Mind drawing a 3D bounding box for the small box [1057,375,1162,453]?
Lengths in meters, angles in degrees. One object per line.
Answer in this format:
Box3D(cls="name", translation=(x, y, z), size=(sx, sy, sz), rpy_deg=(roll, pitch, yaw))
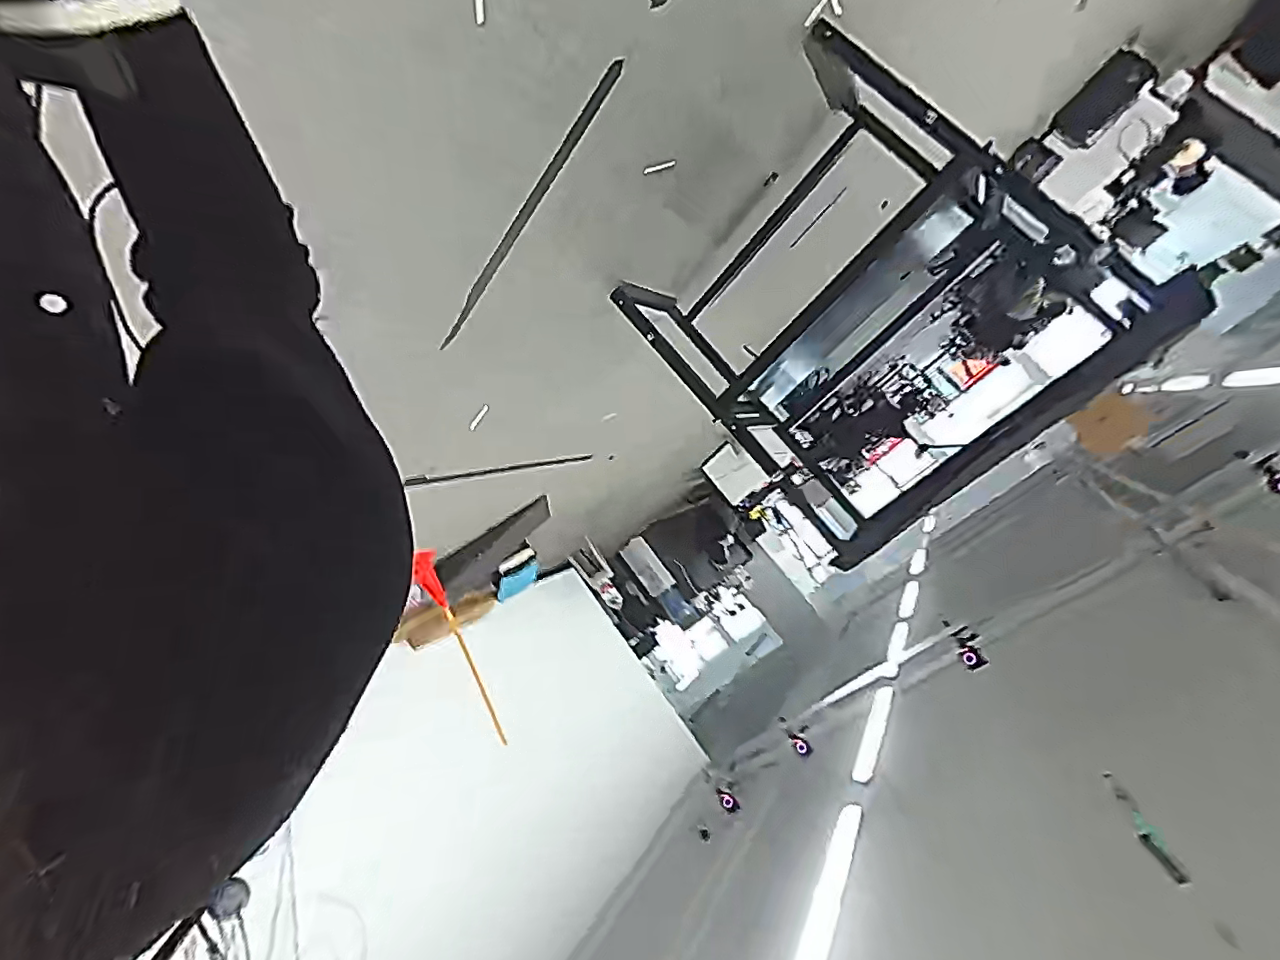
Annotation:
Box3D(cls="small box", translation=(1.421, -0.207, 1.652), size=(0.168, 0.176, 0.179), rpy_deg=(-46, 165, 31))
